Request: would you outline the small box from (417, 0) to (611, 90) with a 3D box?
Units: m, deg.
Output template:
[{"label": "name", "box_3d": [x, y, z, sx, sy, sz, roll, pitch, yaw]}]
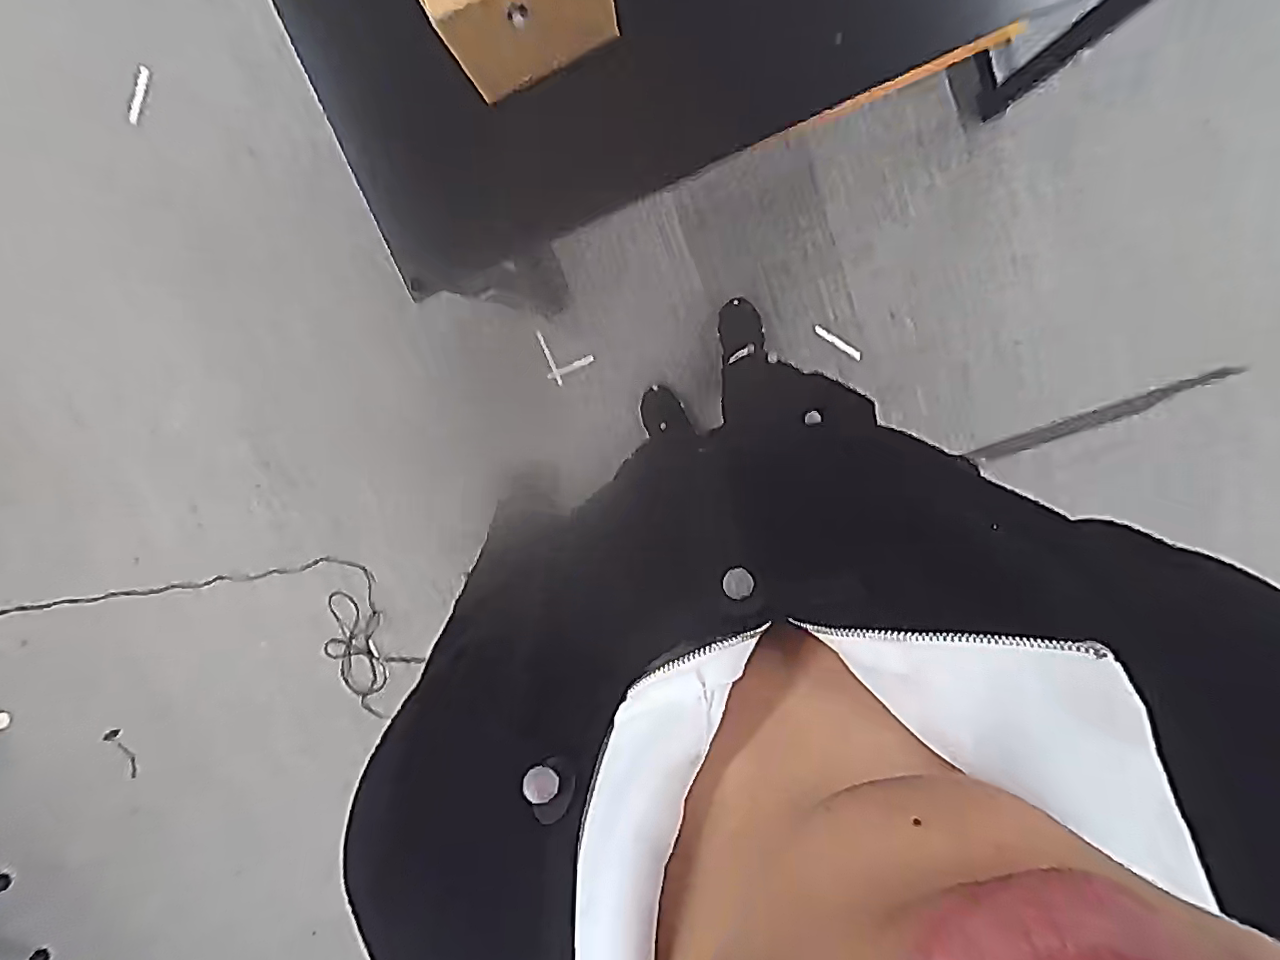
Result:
[{"label": "small box", "box_3d": [-0.143, -0.542, 0.542, 0.179, 0.176, 0.168, -22, 101, 7]}]
